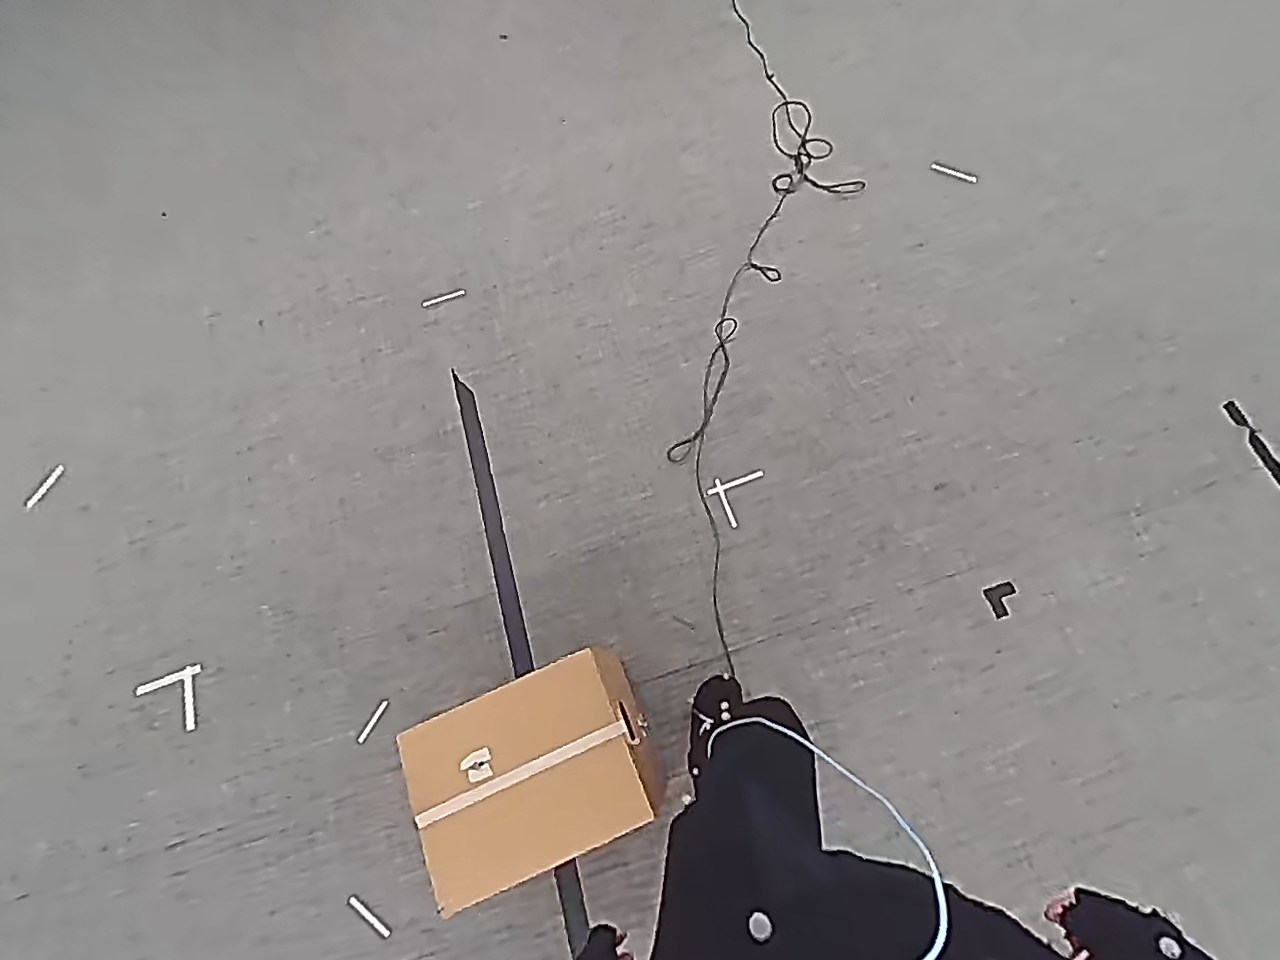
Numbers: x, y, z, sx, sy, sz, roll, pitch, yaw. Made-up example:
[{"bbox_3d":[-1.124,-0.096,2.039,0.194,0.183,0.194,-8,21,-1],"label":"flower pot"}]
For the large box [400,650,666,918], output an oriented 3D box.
[{"bbox_3d":[-0.197,0.581,1.116,0.408,0.320,0.320,-25,69,-1],"label":"large box"}]
